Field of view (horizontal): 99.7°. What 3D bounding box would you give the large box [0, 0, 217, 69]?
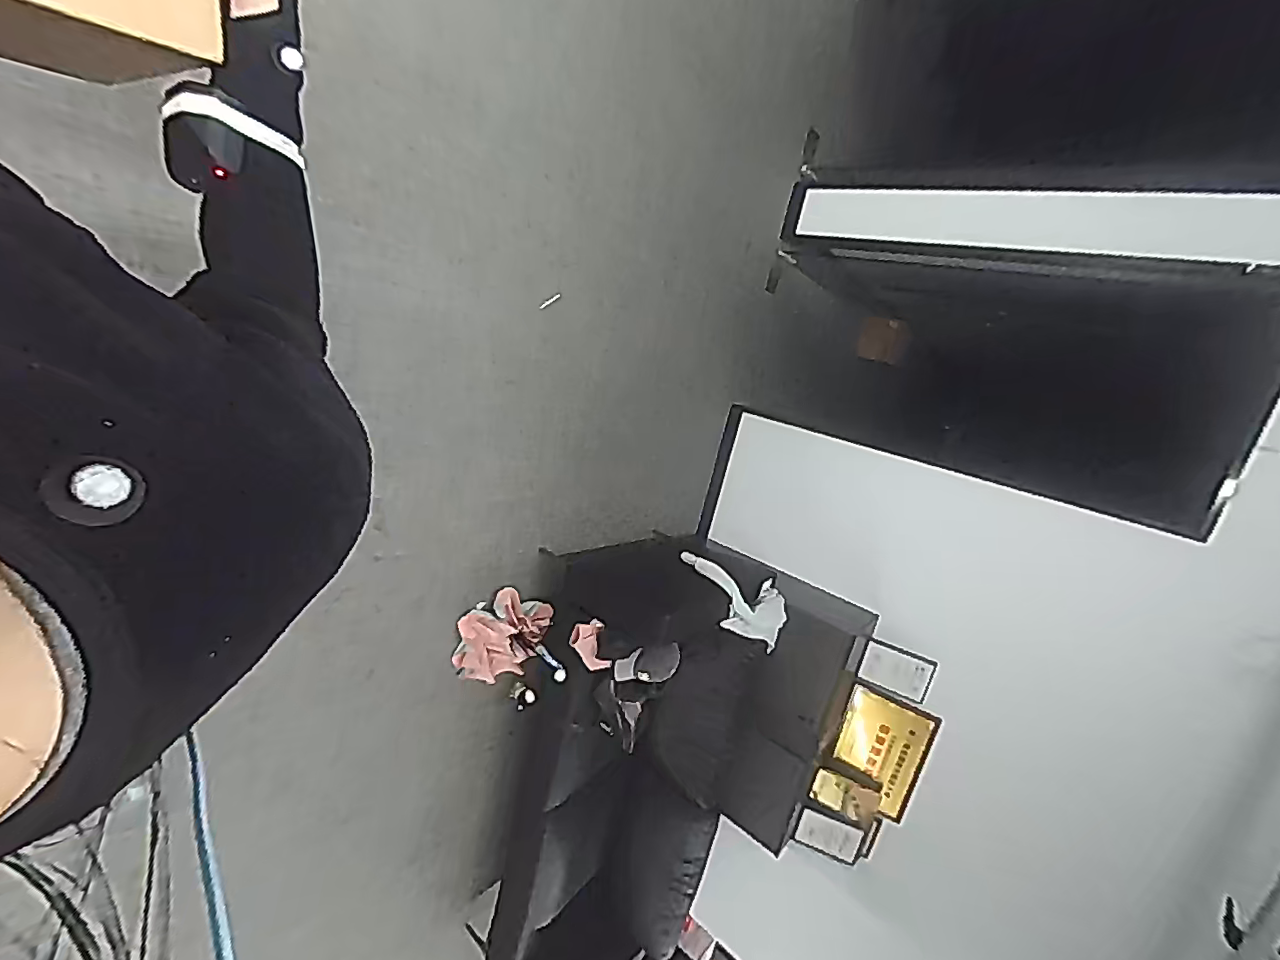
[{"bbox_3d":[-0.538,-0.472,0.288,0.408,0.320,0.320,-19,124,-50],"label":"large box"}]
